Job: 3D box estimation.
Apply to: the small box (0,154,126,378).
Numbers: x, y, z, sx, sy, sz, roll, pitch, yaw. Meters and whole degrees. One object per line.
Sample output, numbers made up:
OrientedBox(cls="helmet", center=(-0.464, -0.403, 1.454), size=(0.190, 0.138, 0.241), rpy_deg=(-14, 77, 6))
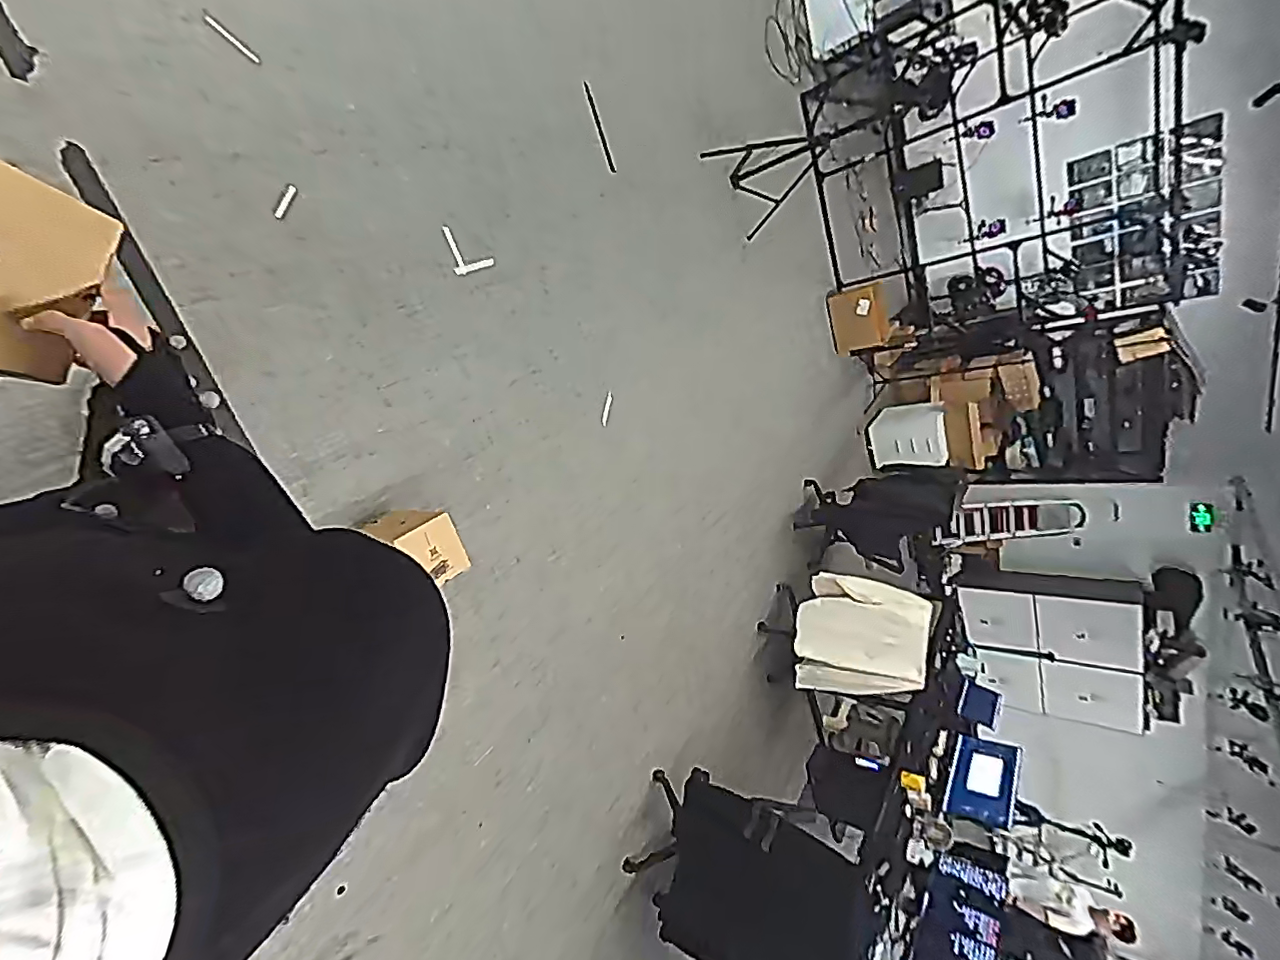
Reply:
OrientedBox(cls="small box", center=(-0.610, -0.198, 0.457), size=(0.179, 0.176, 0.168), rpy_deg=(29, 72, -67))

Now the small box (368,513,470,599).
OrientedBox(cls="small box", center=(-0.605, 0.200, 1.481), size=(0.168, 0.176, 0.179), rpy_deg=(-36, 114, -44))
